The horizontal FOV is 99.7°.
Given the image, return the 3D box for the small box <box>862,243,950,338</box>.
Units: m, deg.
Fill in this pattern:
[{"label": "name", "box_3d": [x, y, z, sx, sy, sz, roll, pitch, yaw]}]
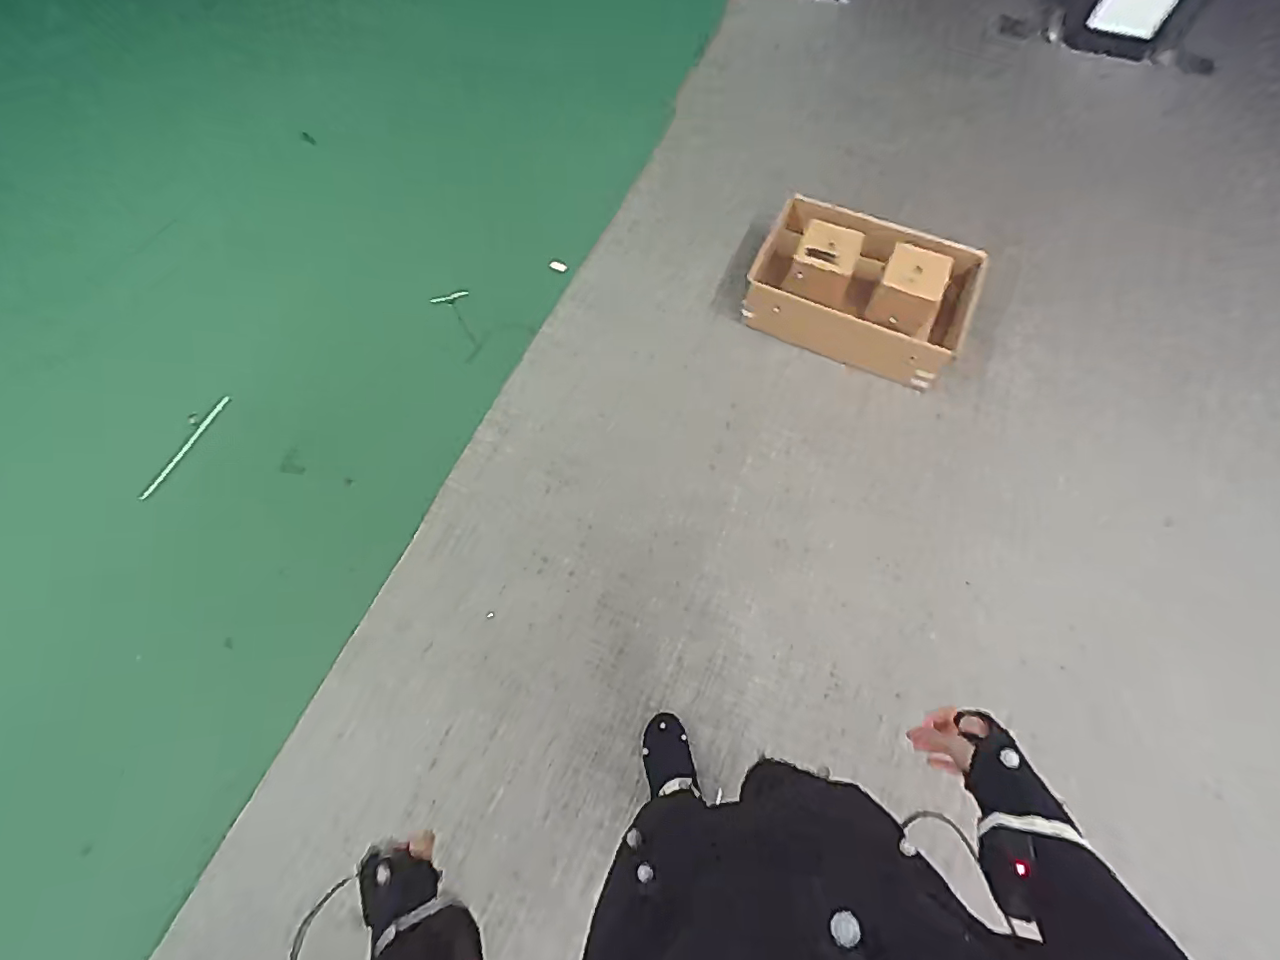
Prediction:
[{"label": "small box", "box_3d": [0.789, -0.563, 1.619, 0.168, 0.176, 0.179, 23, 71, 13]}]
